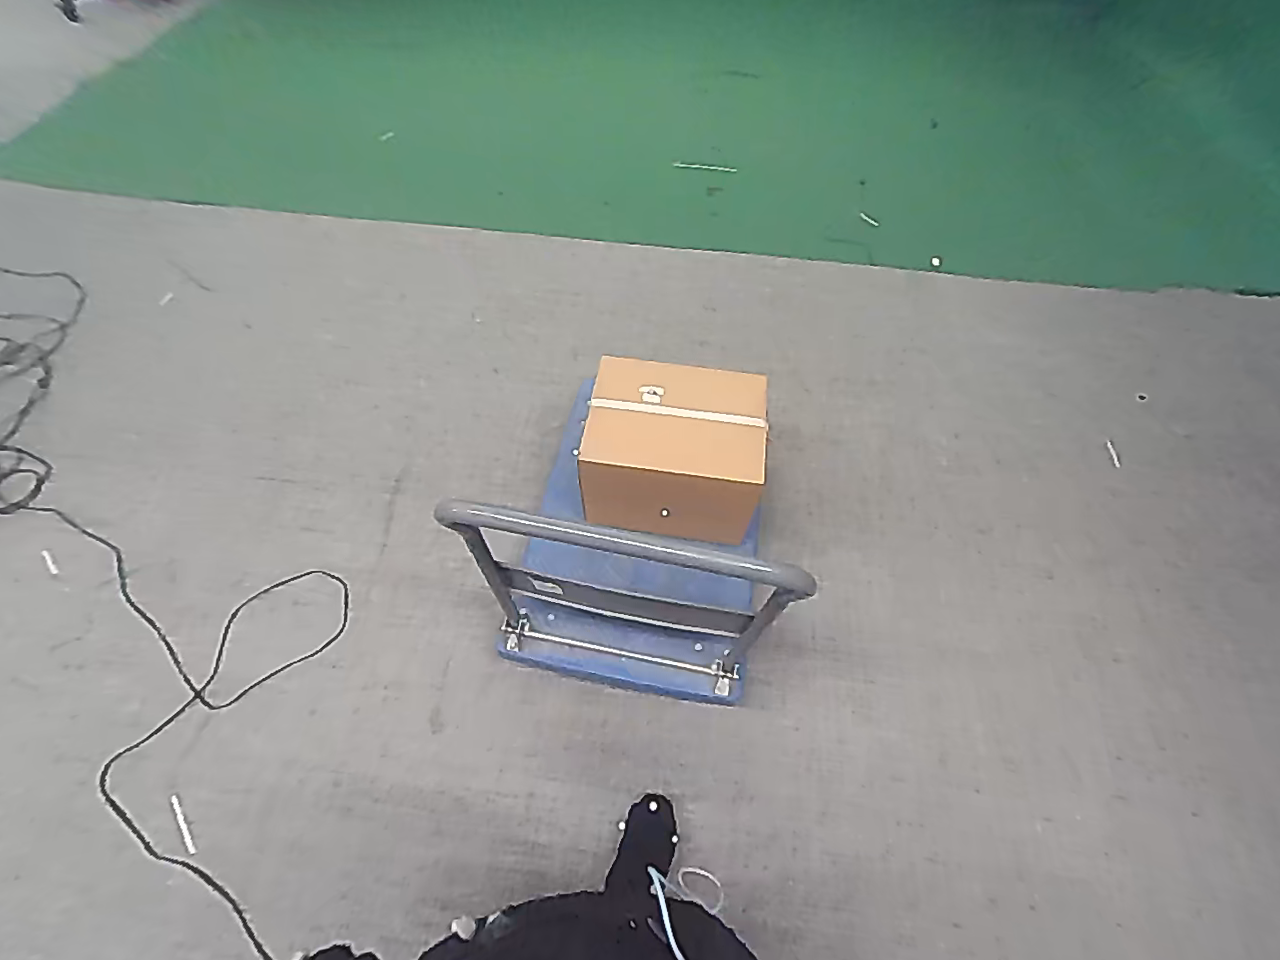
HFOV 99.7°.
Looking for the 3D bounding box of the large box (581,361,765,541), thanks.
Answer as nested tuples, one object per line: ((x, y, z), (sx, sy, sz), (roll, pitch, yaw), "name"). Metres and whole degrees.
((0.086, -0.065, 1.366), (0.408, 0.320, 0.320), (8, 58, 3), "large box")
